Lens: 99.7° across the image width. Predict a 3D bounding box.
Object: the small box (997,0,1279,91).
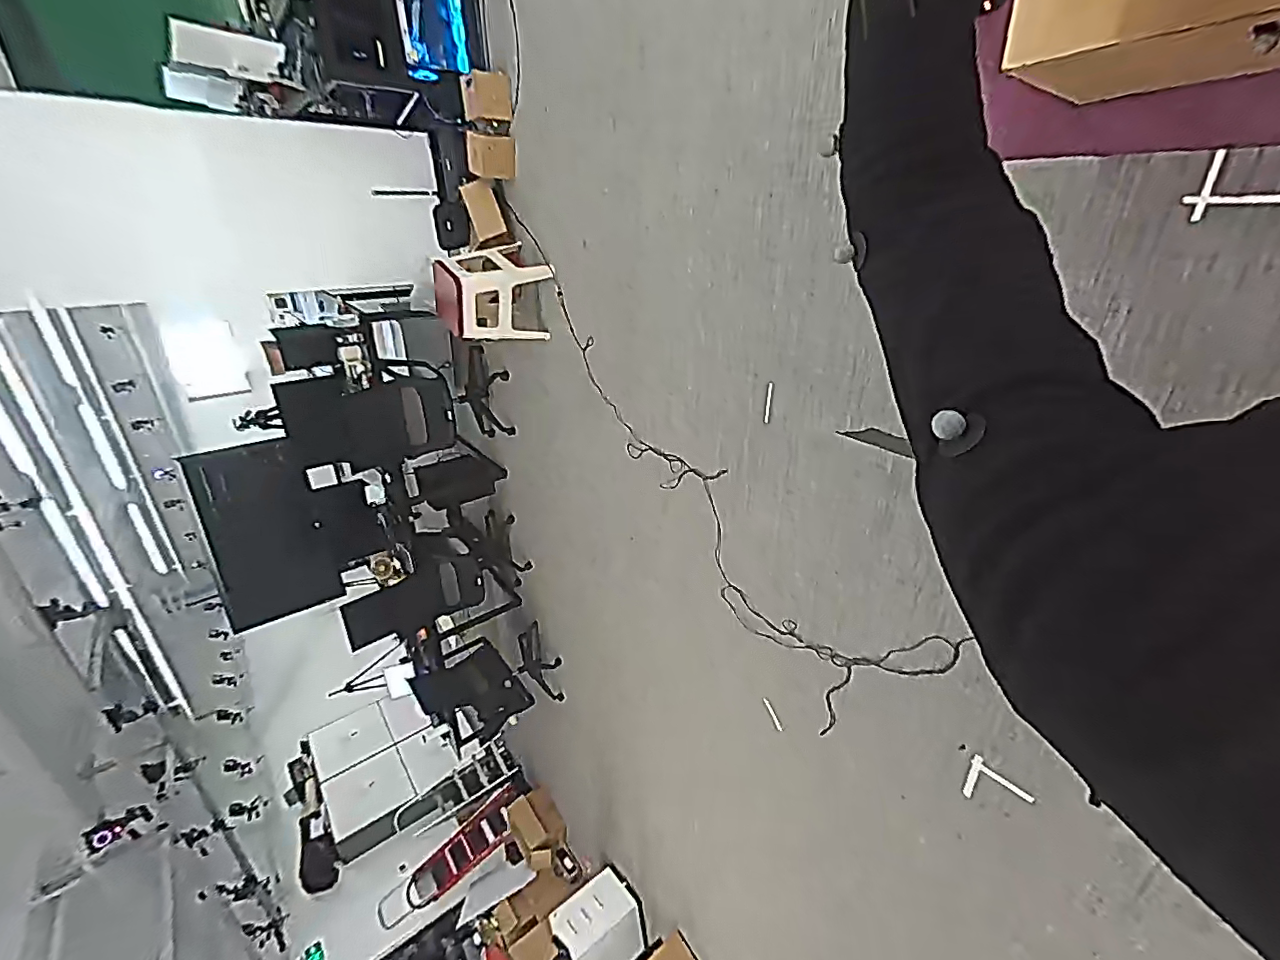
[{"bbox_3d":[0.378,-0.378,0.352,0.179,0.176,0.168,24,124,46],"label":"small box"}]
